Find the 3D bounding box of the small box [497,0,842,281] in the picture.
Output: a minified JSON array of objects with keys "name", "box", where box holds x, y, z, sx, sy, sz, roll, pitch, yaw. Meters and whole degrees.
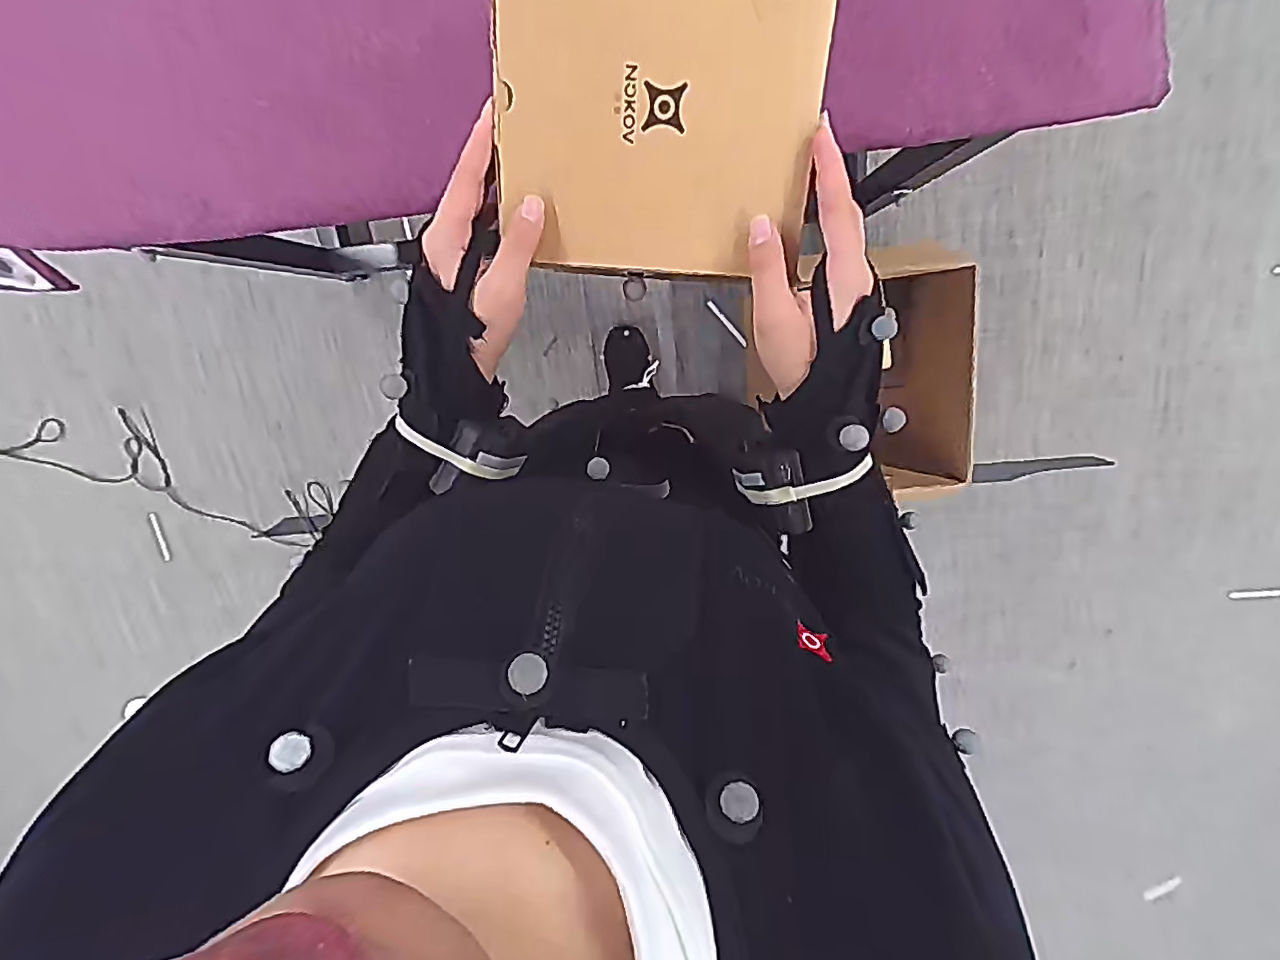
[{"name":"small box","box":[0.014,-0.227,0.362,0.179,0.176,0.168,4,110,2]}]
